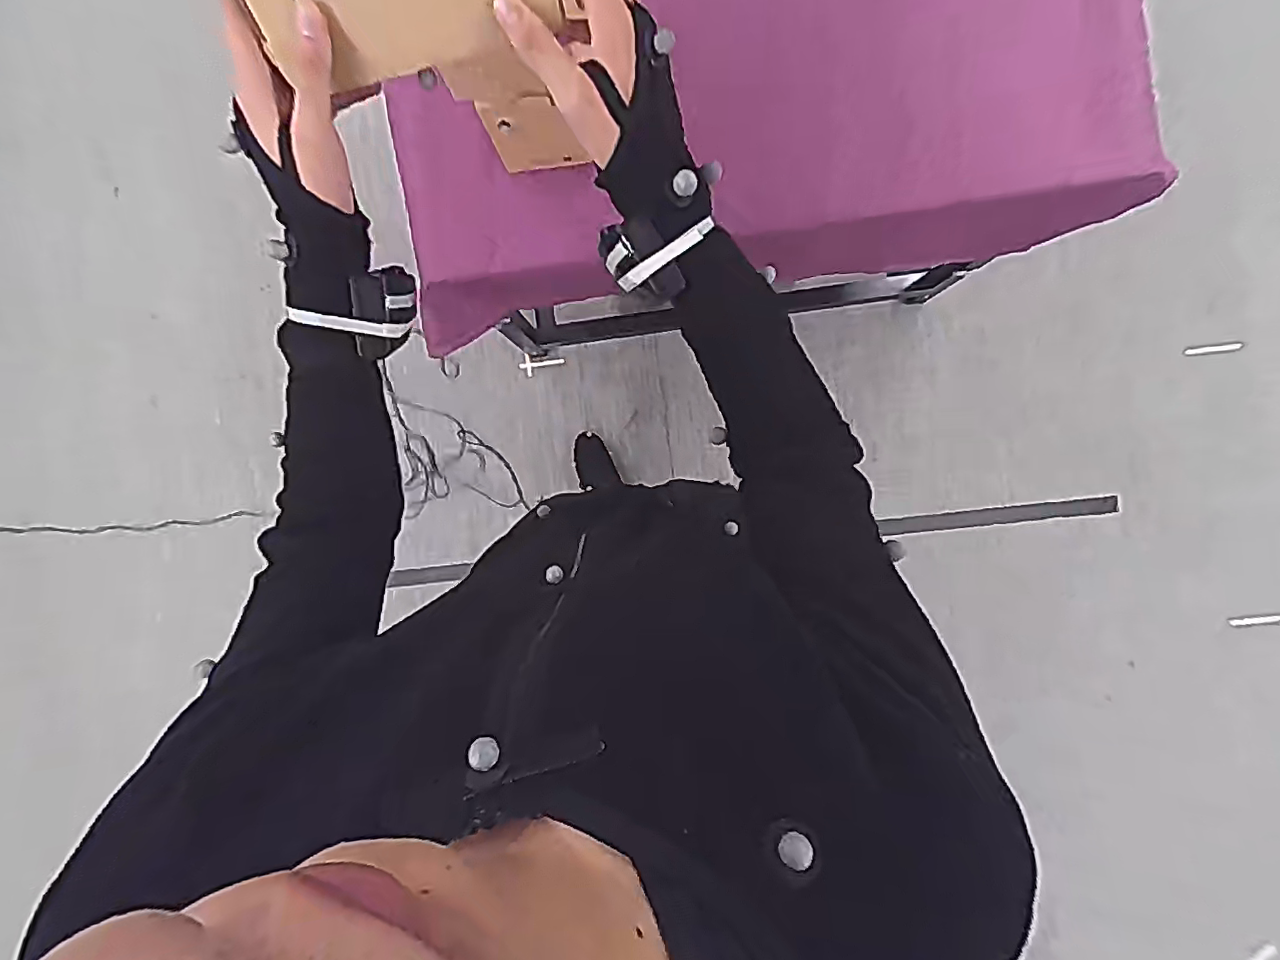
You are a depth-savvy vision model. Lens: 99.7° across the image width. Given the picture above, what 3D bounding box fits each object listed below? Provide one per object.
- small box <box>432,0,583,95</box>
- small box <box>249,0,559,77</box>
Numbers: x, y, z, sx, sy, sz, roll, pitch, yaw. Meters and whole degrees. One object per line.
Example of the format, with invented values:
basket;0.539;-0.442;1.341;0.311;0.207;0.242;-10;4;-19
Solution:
small box;-0.167;-0.595;0.645;0.179;0.176;0.168;0;92;2
small box;-0.152;-0.372;0.326;0.179;0.176;0.168;-13;135;3
